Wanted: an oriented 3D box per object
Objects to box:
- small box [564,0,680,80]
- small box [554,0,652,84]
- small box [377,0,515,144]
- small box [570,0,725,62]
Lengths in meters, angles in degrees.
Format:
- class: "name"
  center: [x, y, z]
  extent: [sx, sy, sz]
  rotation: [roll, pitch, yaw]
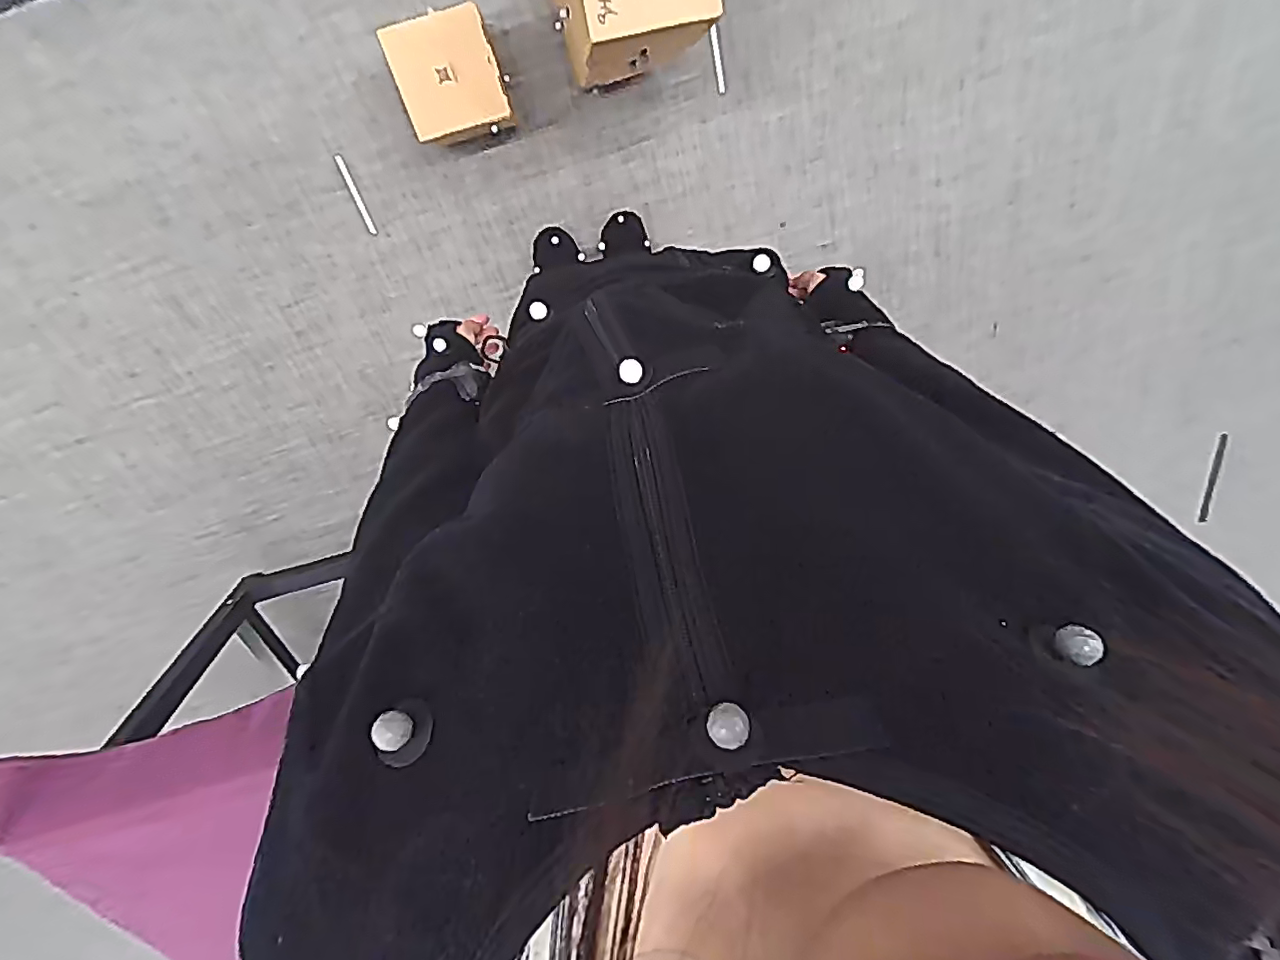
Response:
- class: "small box"
  center: [-0.027, -0.755, 0.847]
  extent: [0.179, 0.176, 0.168]
  rotation: [-16, 121, -1]
- class: "small box"
  center: [-0.060, -0.847, 0.981]
  extent: [0.168, 0.176, 0.179]
  rotation: [-18, 119, 0]
- class: "small box"
  center: [-0.343, -0.738, 0.996]
  extent: [0.179, 0.176, 0.168]
  rotation: [-17, 120, 0]
- class: "small box"
  center: [-0.003, -0.674, 0.706]
  extent: [0.179, 0.176, 0.168]
  rotation: [-14, 120, -3]
